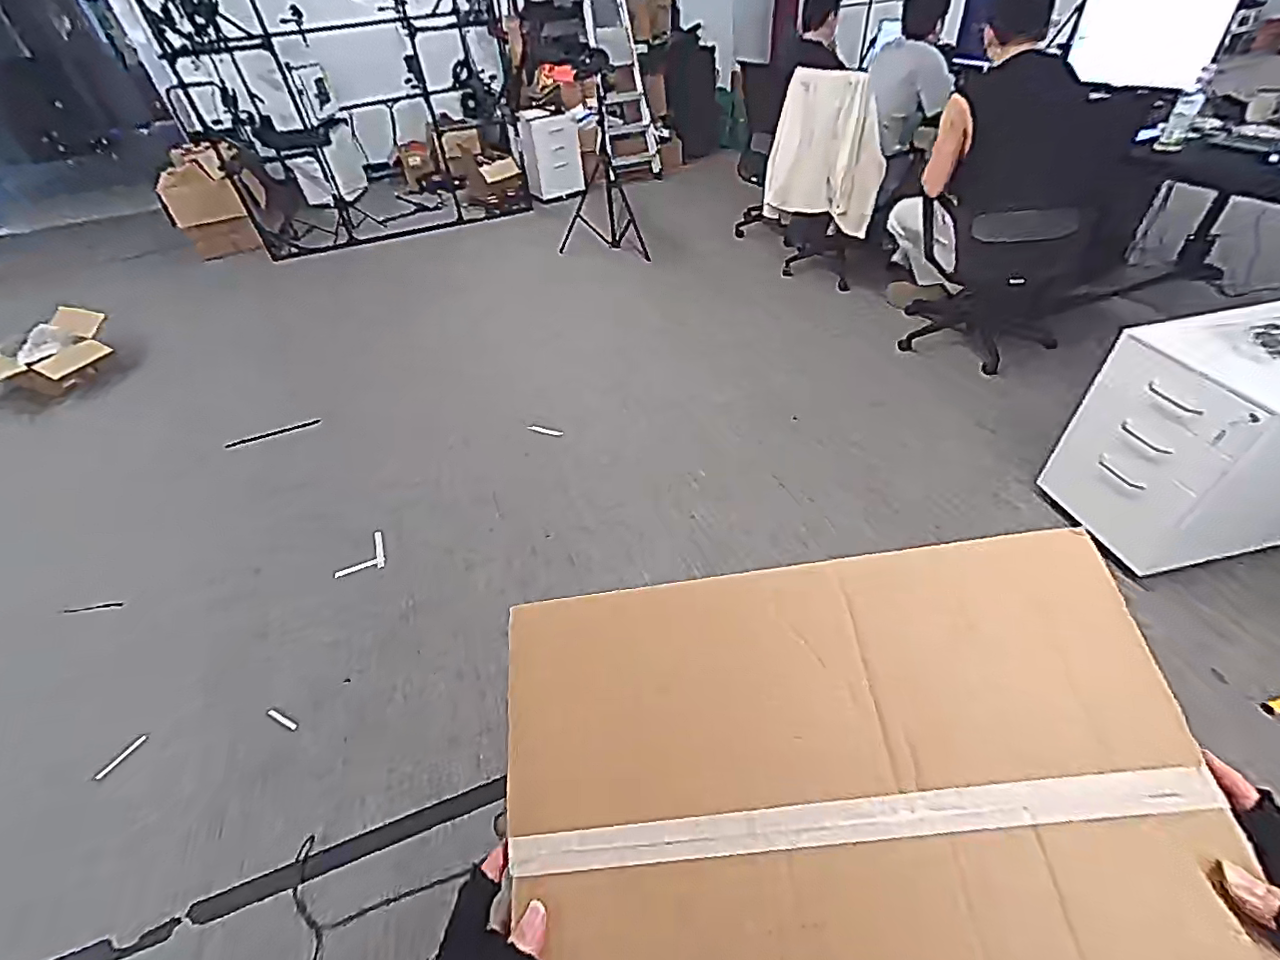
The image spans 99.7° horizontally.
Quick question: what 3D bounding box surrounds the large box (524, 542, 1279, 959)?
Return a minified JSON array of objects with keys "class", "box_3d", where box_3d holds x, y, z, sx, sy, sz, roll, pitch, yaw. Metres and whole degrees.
[{"class":"large box","box_3d":[0.145,0.276,0.458,0.408,0.320,0.320,-9,64,6]}]
